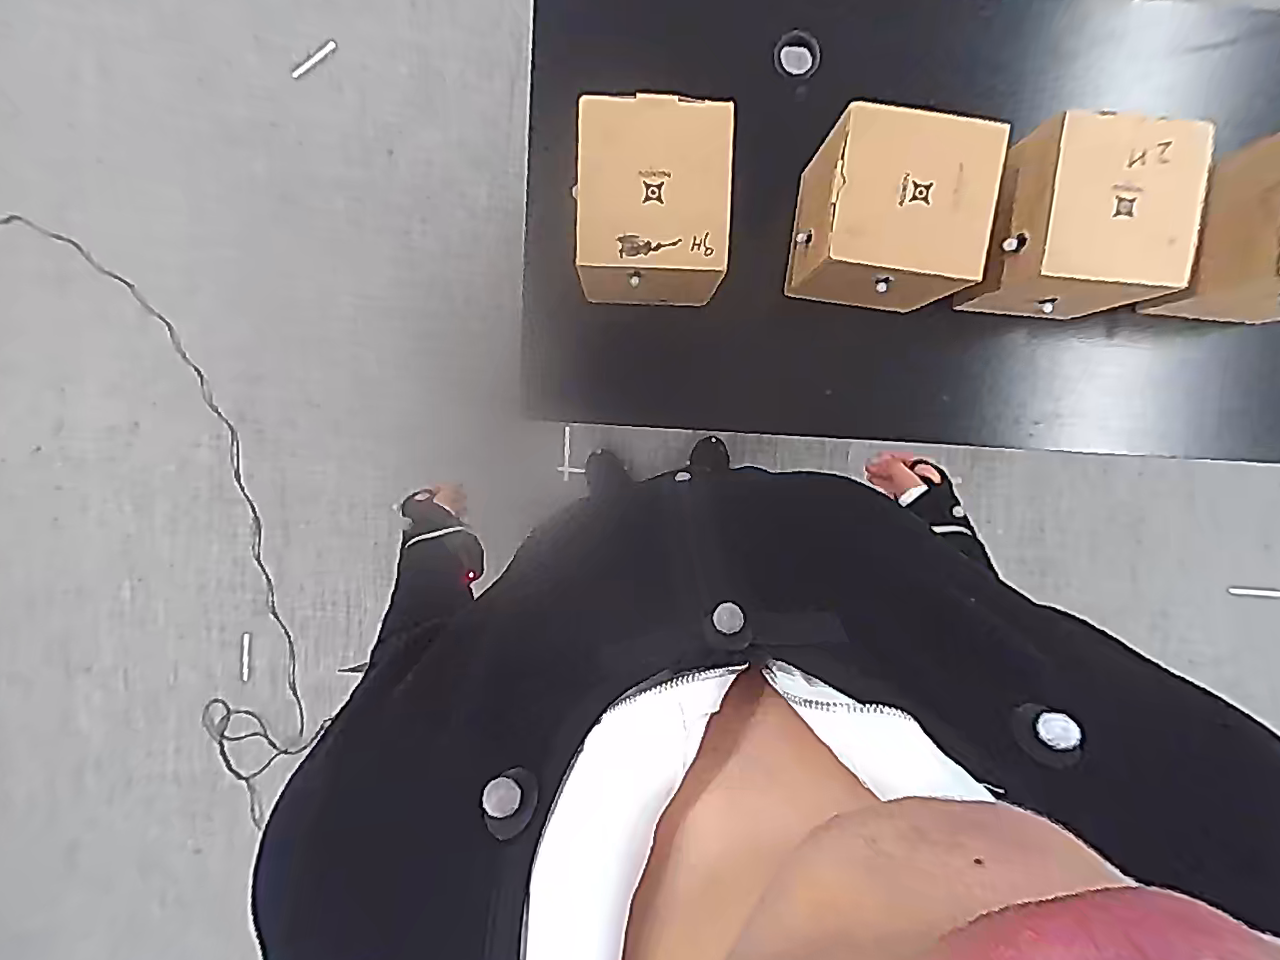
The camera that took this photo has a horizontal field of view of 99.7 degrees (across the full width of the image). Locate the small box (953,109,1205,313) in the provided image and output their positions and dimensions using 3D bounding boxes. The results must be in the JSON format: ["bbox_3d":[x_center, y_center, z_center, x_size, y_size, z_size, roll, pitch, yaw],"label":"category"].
[{"bbox_3d":[0.522,-0.315,0.672,0.168,0.176,0.179,5,95,-1],"label":"small box"}]

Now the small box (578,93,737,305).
[{"bbox_3d":[0.018,-0.328,0.664,0.168,0.176,0.179,3,95,0],"label":"small box"}]

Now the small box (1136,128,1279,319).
[{"bbox_3d":[0.783,-0.306,0.675,0.179,0.176,0.168,5,95,-2],"label":"small box"}]
